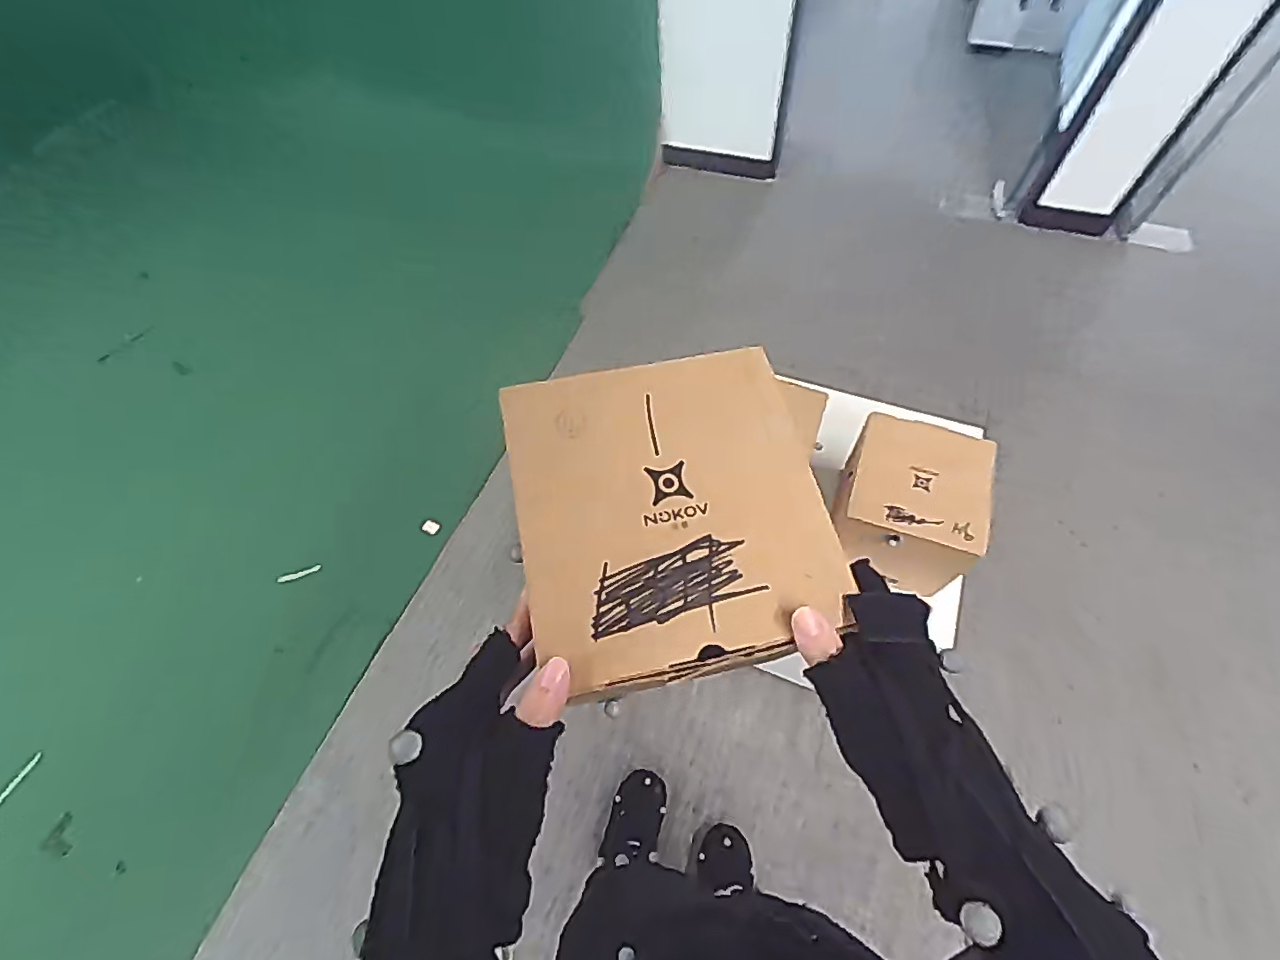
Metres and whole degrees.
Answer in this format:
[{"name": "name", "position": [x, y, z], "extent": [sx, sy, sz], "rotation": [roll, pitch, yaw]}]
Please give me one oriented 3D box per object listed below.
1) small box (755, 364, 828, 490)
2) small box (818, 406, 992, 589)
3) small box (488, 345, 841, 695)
[{"name": "small box", "position": [0.169, -0.053, 0.818], "extent": [0.168, 0.176, 0.179], "rotation": [16, 65, 13]}, {"name": "small box", "position": [0.368, 0.029, 0.773], "extent": [0.168, 0.176, 0.179], "rotation": [18, 64, 14]}, {"name": "small box", "position": [0.005, 0.040, 0.371], "extent": [0.168, 0.176, 0.179], "rotation": [-11, 67, -7]}]
